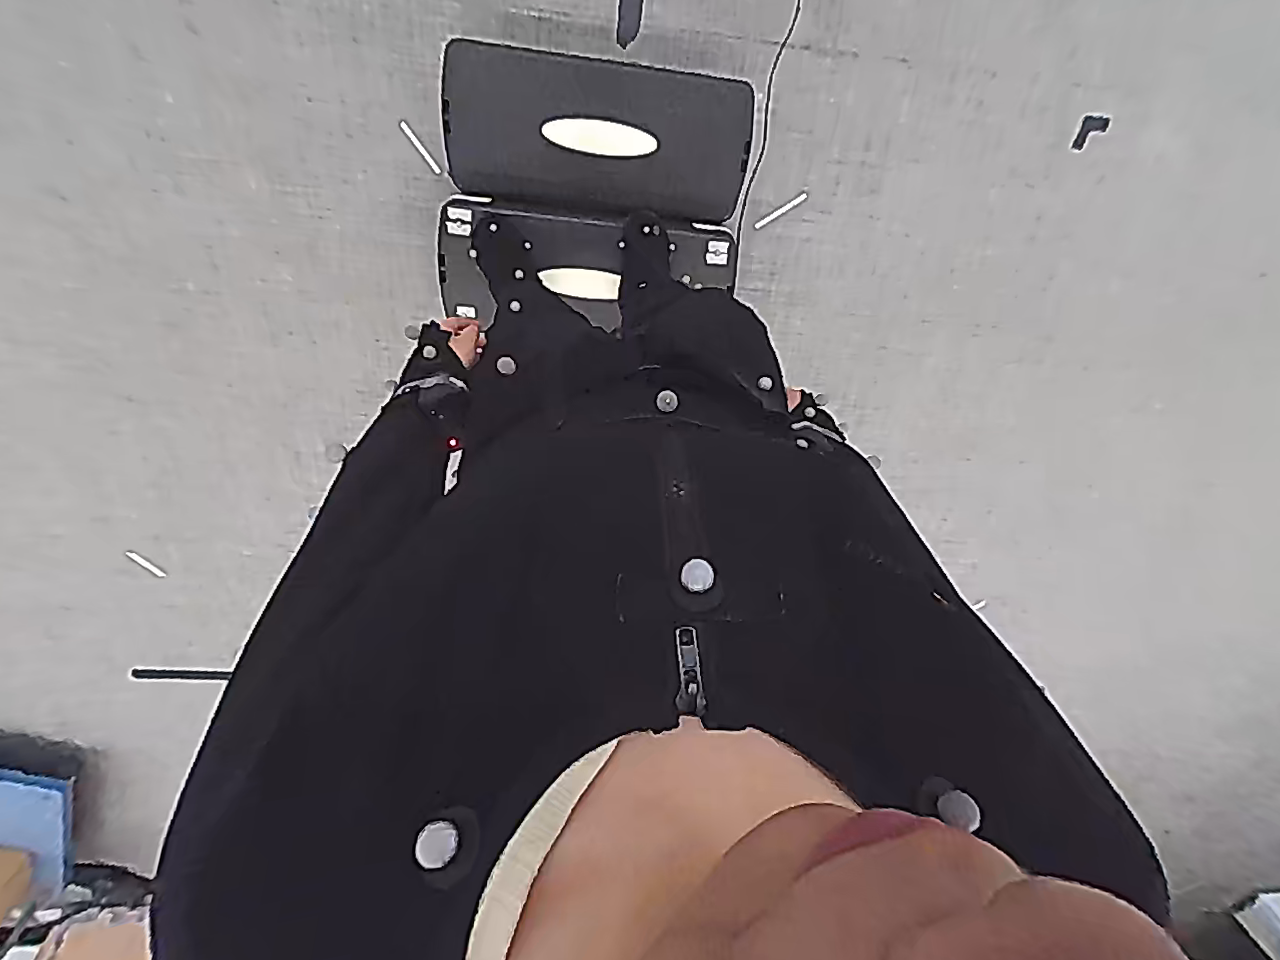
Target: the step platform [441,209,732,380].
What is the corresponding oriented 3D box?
[{"bbox_3d":[-0.124,-0.445,1.320,0.684,0.204,0.286,8,117,-7],"label":"step platform"}]
